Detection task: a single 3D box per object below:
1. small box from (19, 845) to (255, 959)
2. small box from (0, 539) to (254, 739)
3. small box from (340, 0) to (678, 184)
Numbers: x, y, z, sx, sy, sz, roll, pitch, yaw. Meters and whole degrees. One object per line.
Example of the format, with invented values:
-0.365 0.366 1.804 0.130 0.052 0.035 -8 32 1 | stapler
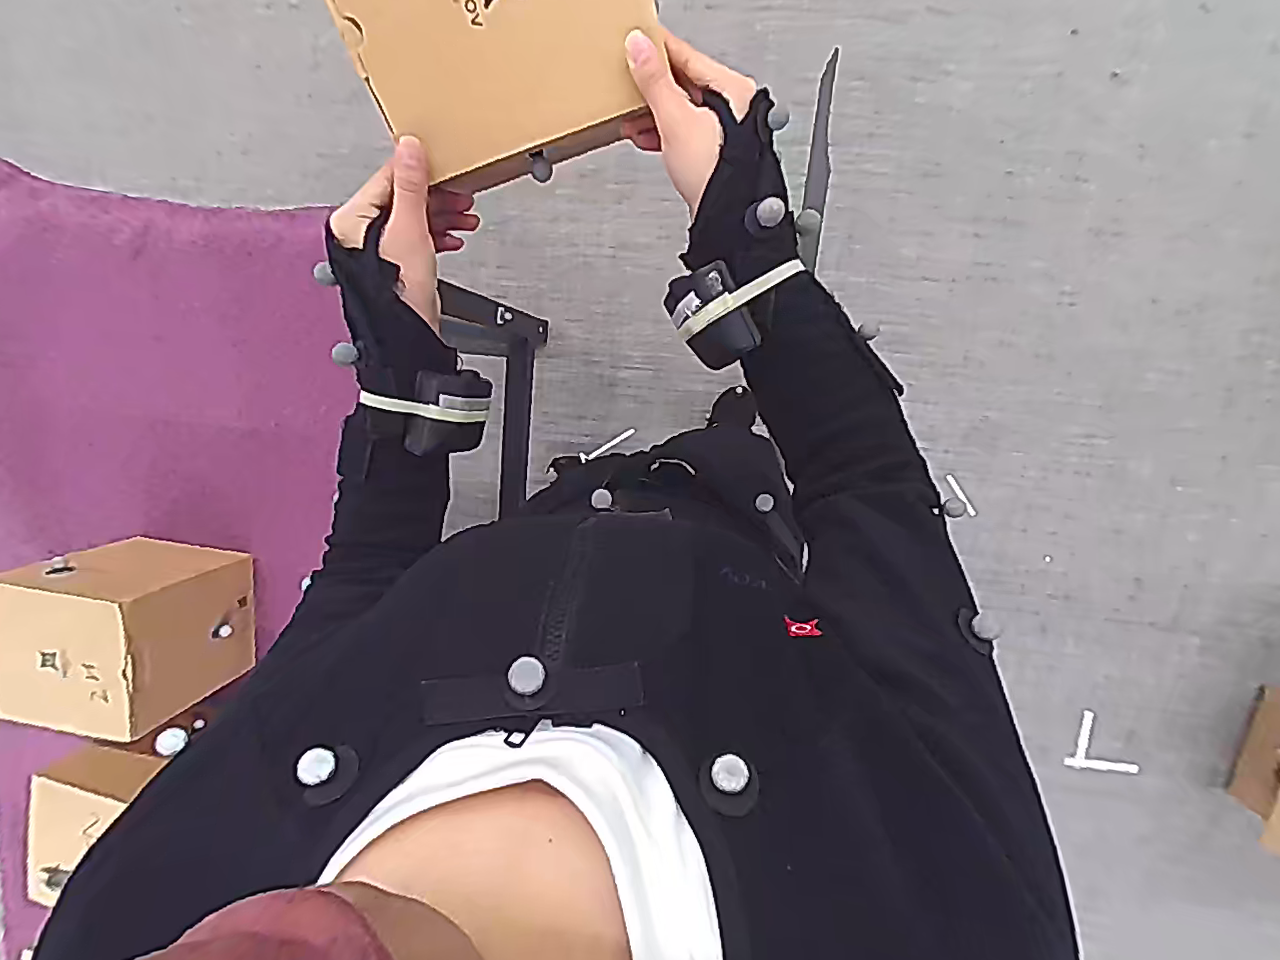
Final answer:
-0.670 0.645 0.739 0.179 0.176 0.168 12 100 4 | small box
-0.618 0.177 0.658 0.179 0.176 0.168 7 101 5 | small box
-0.088 -0.319 0.370 0.179 0.176 0.168 -17 116 4 | small box
